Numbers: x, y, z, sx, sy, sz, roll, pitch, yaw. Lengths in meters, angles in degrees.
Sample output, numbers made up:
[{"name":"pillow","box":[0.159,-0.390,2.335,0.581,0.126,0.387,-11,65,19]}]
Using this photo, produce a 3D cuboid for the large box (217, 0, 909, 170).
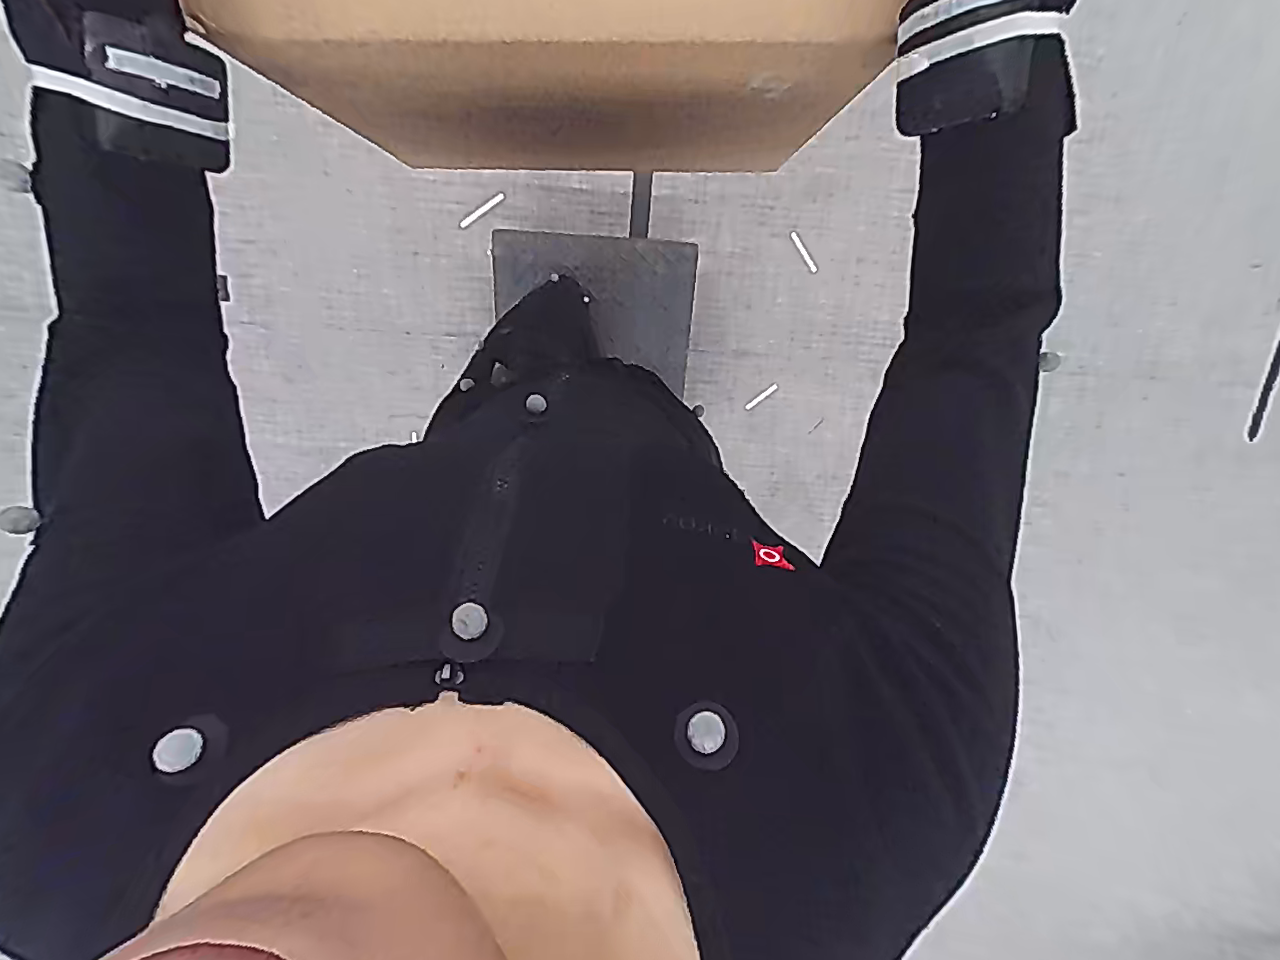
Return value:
[{"name":"large box","box":[-0.049,-0.448,0.411,0.408,0.320,0.320,-1,108,-1]}]
